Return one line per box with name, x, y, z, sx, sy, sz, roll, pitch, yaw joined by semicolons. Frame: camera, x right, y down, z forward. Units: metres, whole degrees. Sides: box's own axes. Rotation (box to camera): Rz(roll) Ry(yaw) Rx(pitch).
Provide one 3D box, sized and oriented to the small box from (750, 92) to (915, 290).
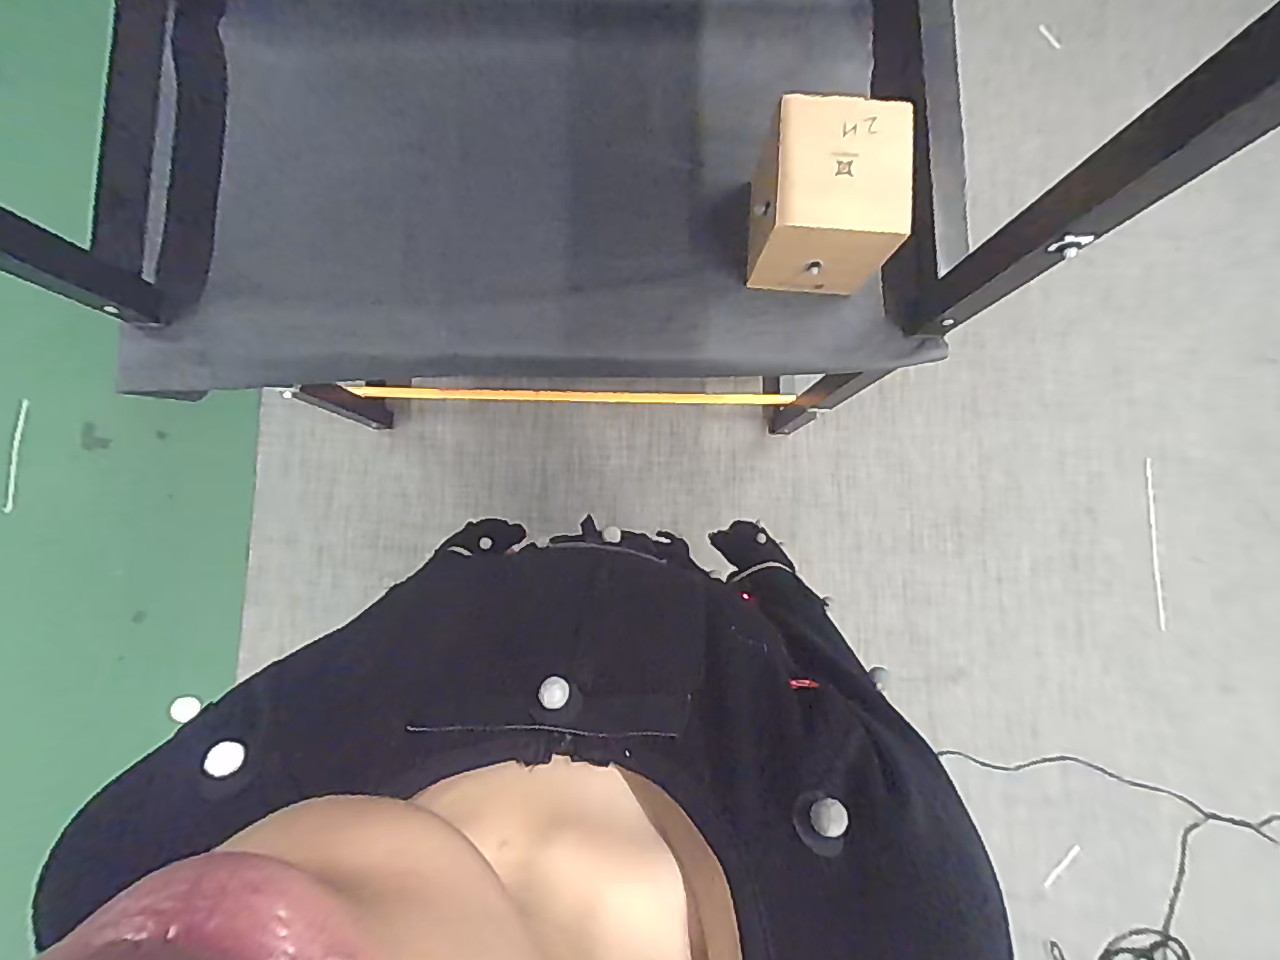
small box;0.251;-0.380;0.739;0.168;0.176;0.179;4;84;-1
